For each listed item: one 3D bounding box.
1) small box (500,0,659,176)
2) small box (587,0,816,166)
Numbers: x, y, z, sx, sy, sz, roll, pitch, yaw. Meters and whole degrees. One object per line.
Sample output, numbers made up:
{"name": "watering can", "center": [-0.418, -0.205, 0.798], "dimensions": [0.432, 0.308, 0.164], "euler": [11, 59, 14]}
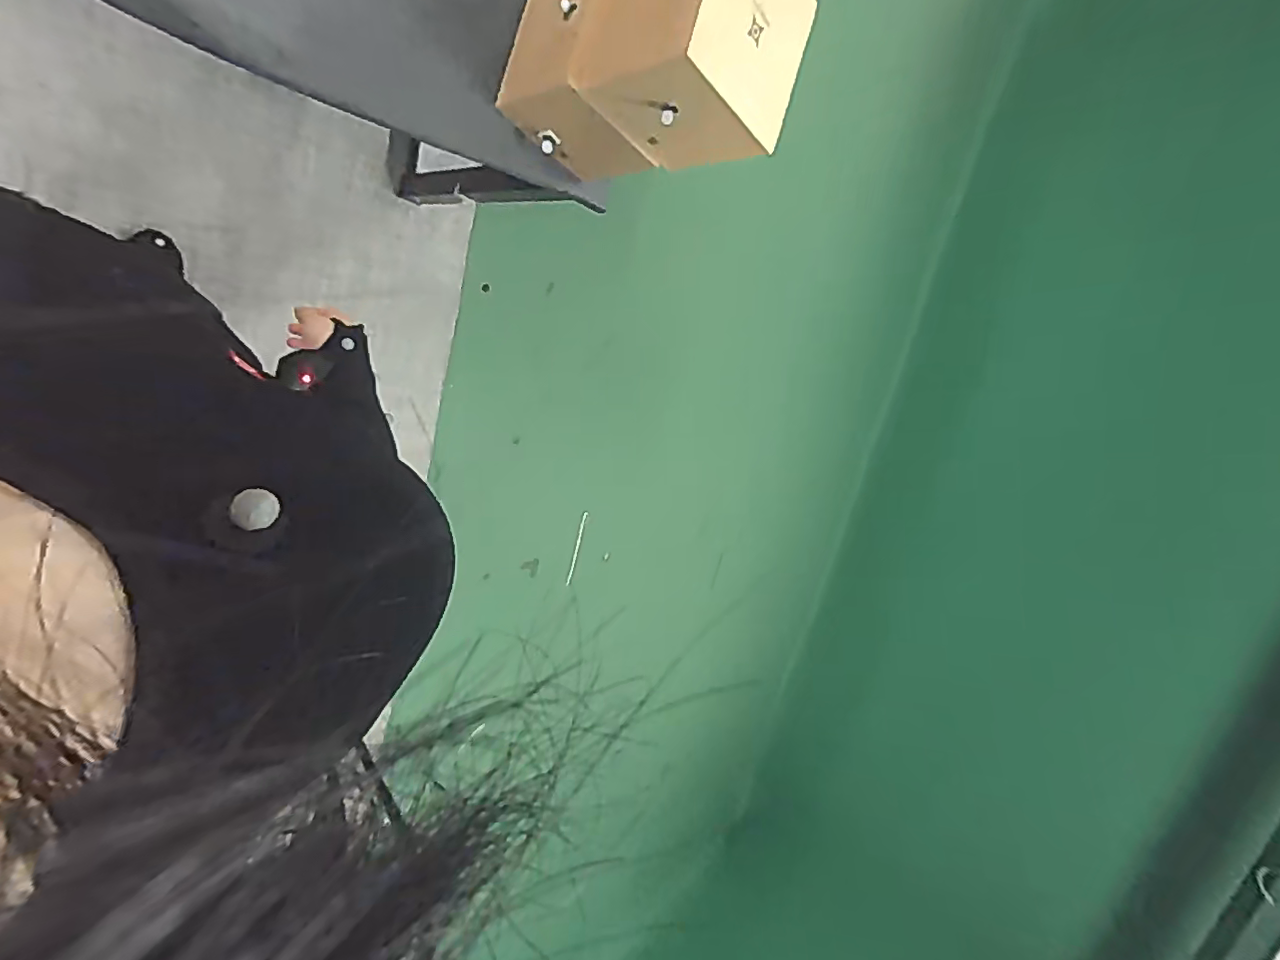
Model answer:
{"name": "small box", "center": [-0.058, -0.533, 0.708], "dimensions": [0.168, 0.176, 0.179], "euler": [15, 95, -47]}
{"name": "small box", "center": [0.063, -0.488, 0.609], "dimensions": [0.168, 0.176, 0.179], "euler": [12, 96, -47]}
